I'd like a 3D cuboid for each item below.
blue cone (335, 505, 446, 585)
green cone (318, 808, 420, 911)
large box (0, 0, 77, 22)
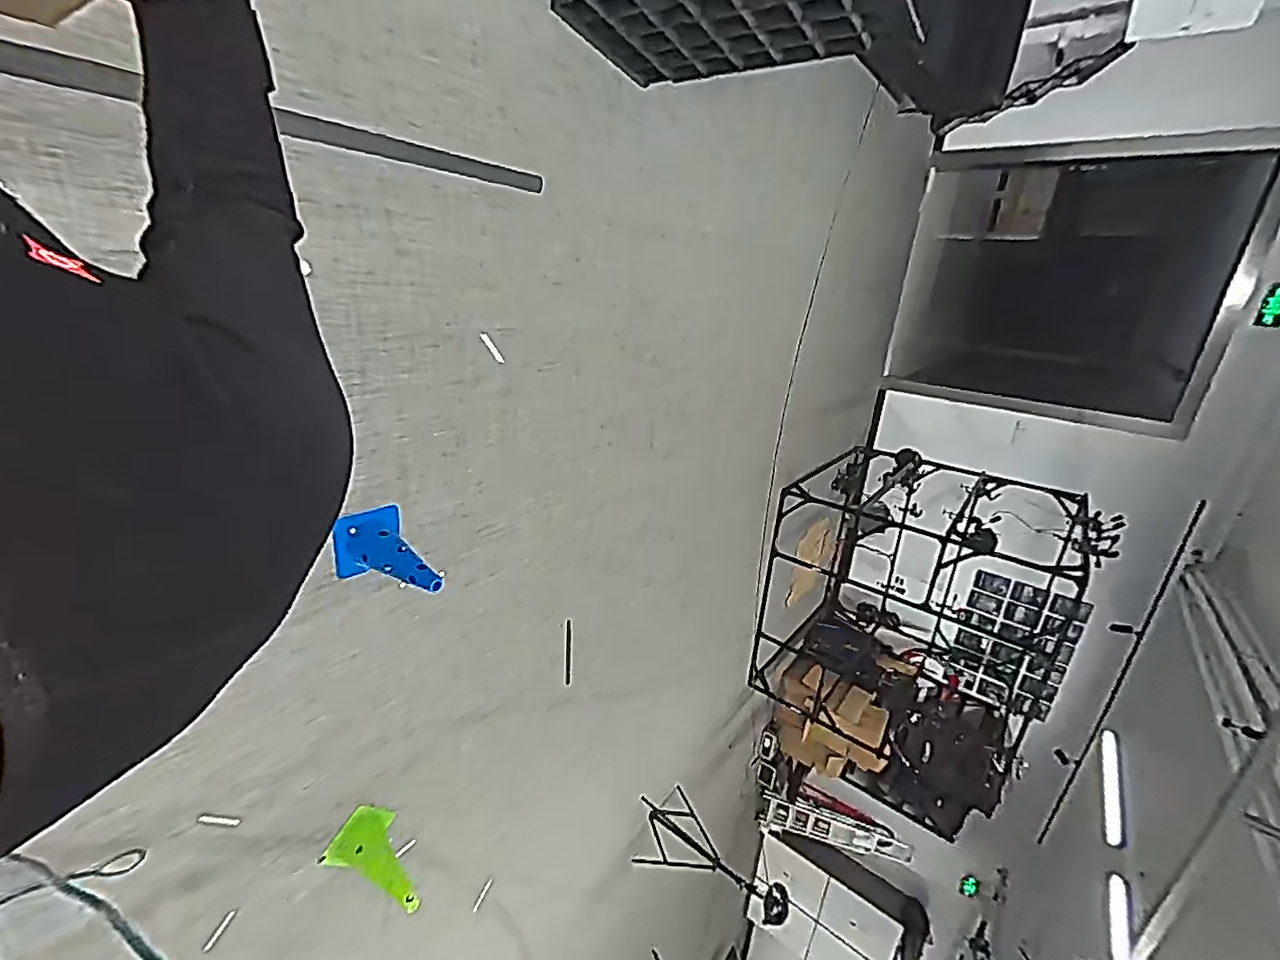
[{"bbox_3d":[-0.696,0.223,1.557,0.192,0.380,0.193,-17,120,-52],"label":"blue cone"},{"bbox_3d":[-0.863,1.312,1.816,0.202,0.368,0.200,-56,145,-24],"label":"green cone"},{"bbox_3d":[-0.535,-0.463,0.215,0.408,0.320,0.320,-21,127,-49],"label":"large box"}]
